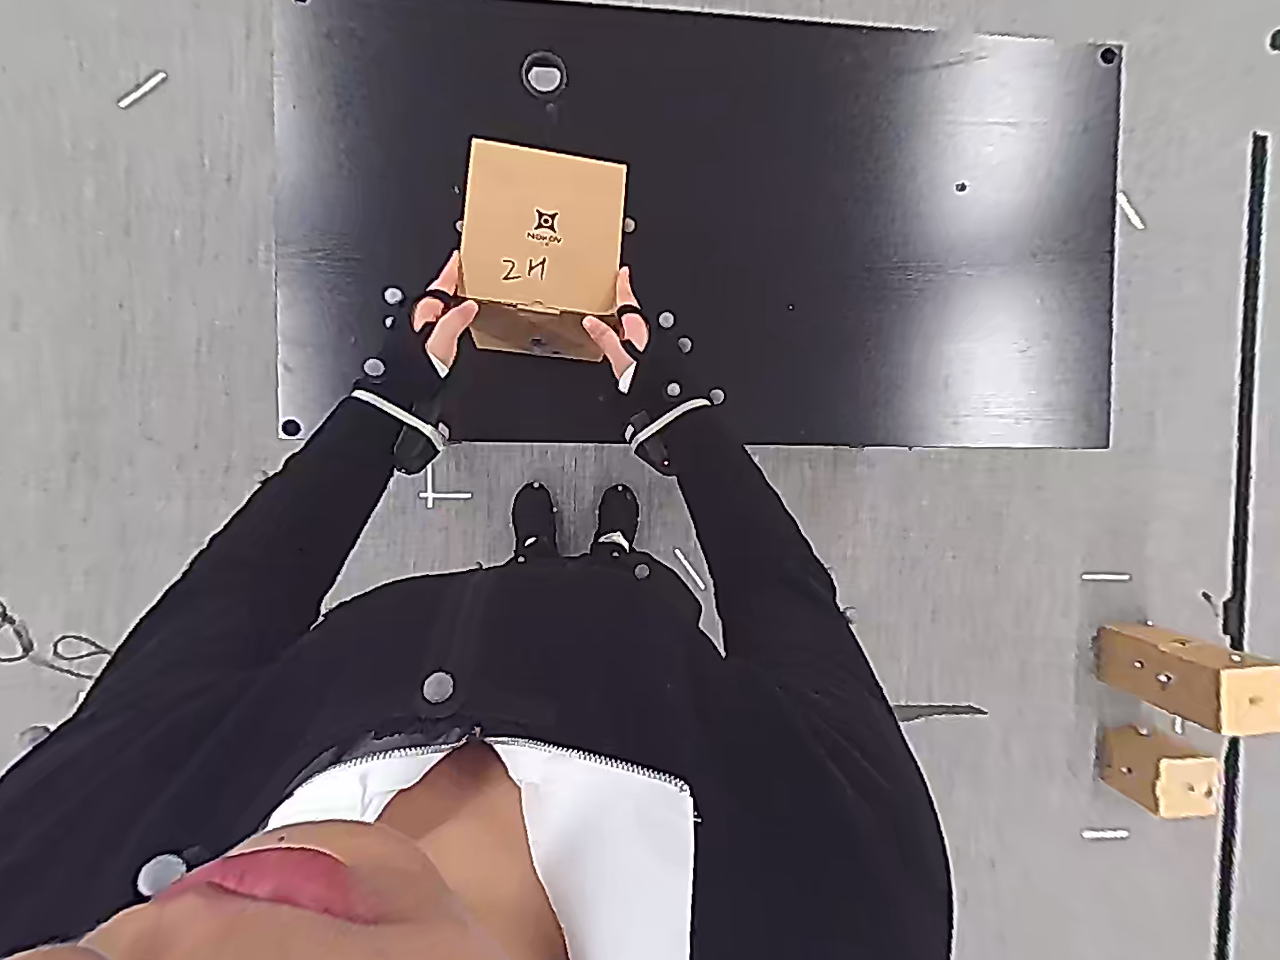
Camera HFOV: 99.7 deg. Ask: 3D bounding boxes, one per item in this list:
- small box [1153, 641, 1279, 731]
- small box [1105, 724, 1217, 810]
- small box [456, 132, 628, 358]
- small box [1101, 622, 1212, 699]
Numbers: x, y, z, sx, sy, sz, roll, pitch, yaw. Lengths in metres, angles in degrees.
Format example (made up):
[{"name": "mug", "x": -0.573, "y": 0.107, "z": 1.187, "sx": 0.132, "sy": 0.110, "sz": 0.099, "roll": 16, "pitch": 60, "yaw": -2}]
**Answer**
[{"name": "small box", "x": 1.490, "y": 0.524, "z": 1.396, "sx": 0.179, "sy": 0.176, "sz": 0.168, "roll": -3, "pitch": 91, "yaw": -3}, {"name": "small box", "x": 1.510, "y": 0.832, "z": 1.577, "sx": 0.179, "sy": 0.176, "sz": 0.168, "roll": 1, "pitch": 92, "yaw": -4}, {"name": "small box", "x": -0.114, "y": -0.263, "z": 0.646, "sx": 0.168, "sy": 0.176, "sz": 0.179, "roll": 5, "pitch": 85, "yaw": -9}, {"name": "small box", "x": 1.480, "y": 0.513, "z": 1.558, "sx": 0.168, "sy": 0.176, "sz": 0.179, "roll": -1, "pitch": 93, "yaw": -4}]
